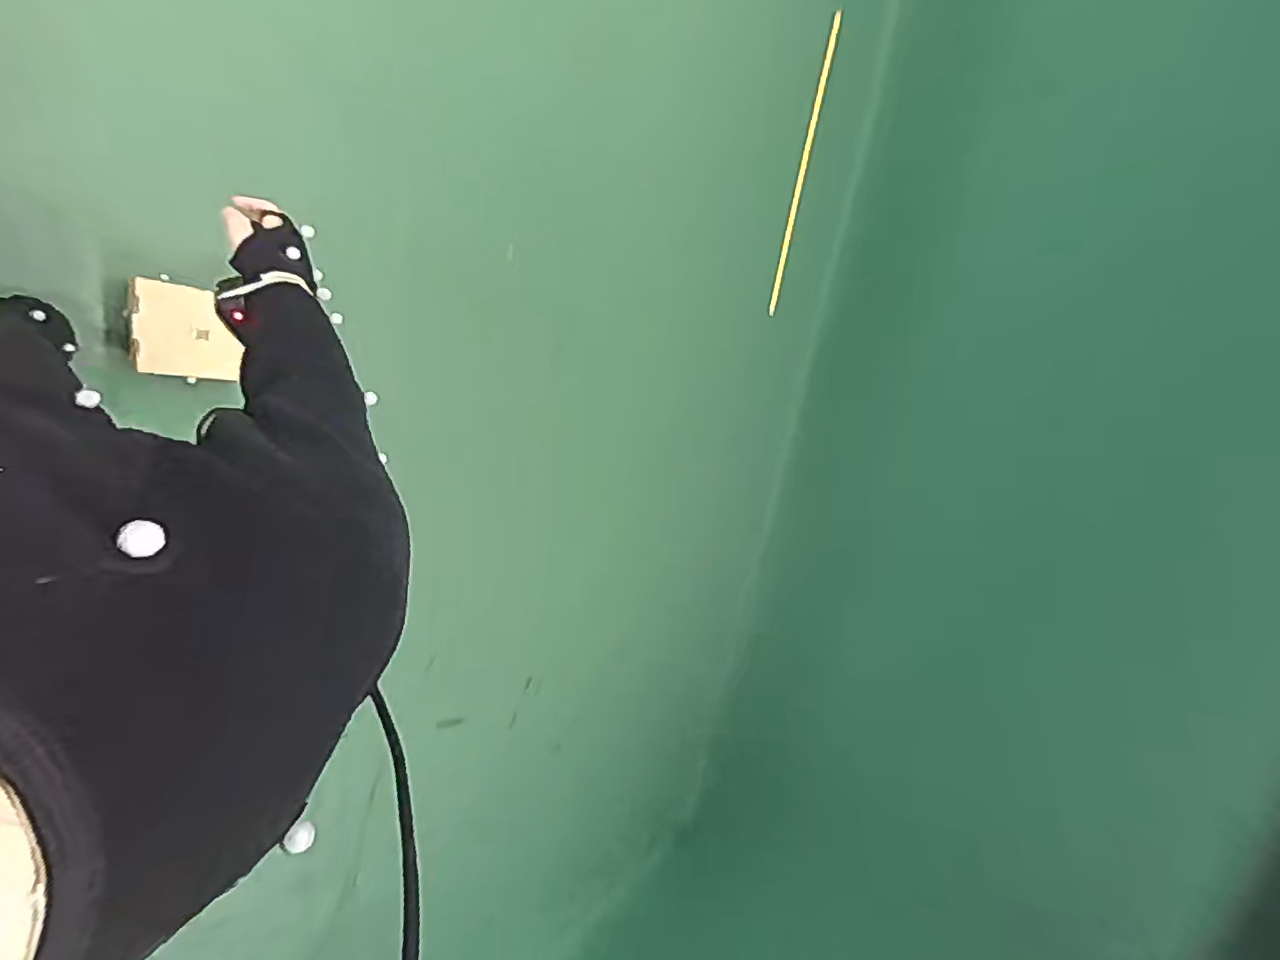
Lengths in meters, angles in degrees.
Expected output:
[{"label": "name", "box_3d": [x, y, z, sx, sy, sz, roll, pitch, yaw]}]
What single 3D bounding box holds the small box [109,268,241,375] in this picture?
[{"label": "small box", "box_3d": [-0.910, -0.311, 1.057, 0.179, 0.176, 0.168, -1, 108, -47]}]
